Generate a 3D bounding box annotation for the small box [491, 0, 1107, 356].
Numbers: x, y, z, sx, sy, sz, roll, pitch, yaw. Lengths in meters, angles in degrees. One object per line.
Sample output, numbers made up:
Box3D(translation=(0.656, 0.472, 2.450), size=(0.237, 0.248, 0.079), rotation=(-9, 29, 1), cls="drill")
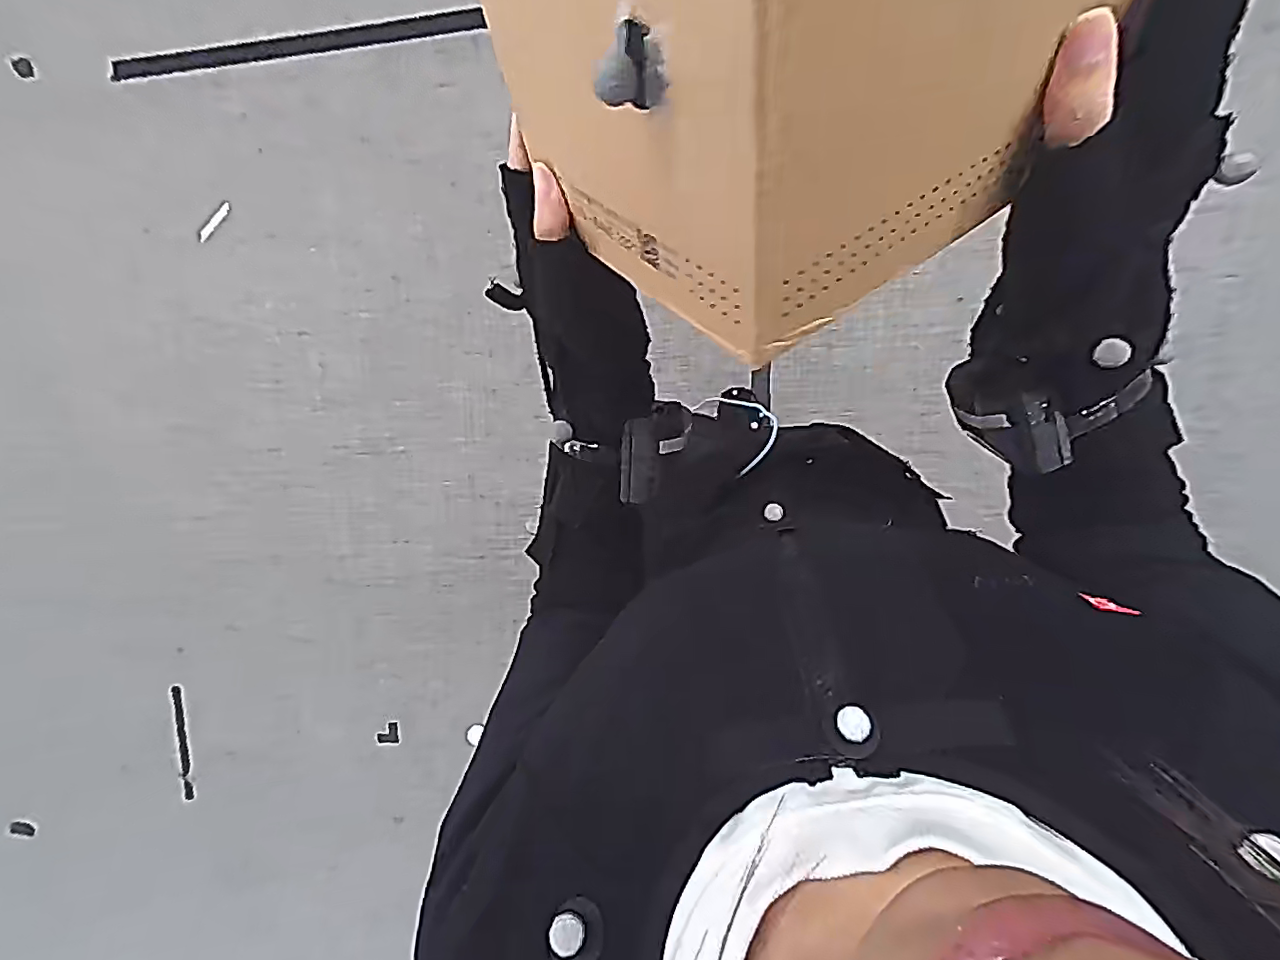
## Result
Box3D(translation=(0.052, -0.179, 0.203), size=(0.179, 0.176, 0.168), rotation=(-32, 55, -12), cls="small box")
